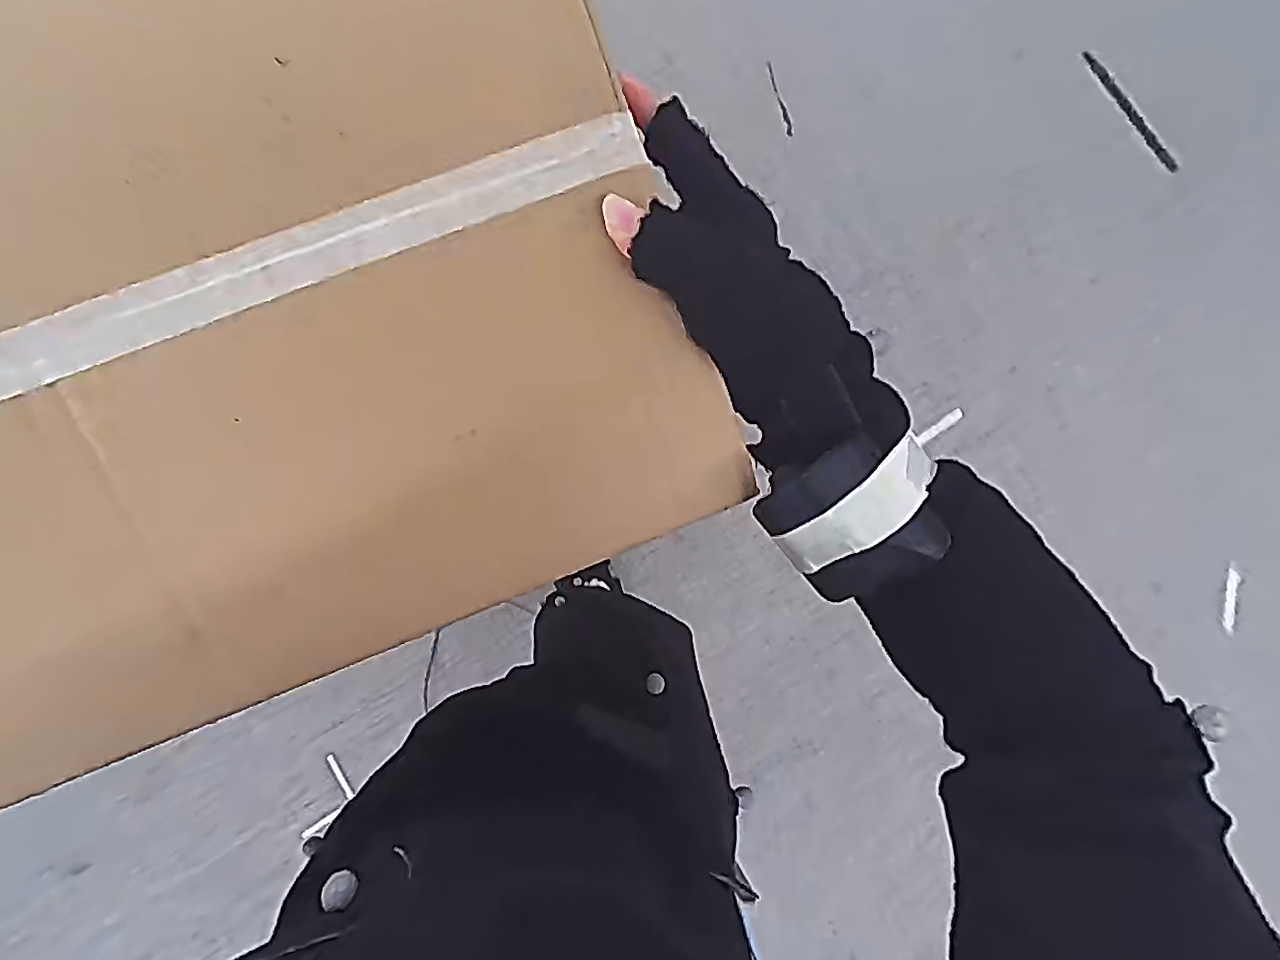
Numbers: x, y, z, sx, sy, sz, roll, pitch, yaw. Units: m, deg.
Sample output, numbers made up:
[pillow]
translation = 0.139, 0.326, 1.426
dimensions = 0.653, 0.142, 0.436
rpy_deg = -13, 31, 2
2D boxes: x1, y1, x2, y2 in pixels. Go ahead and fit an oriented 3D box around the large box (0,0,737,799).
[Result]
[large box]
translation = -0.206, -0.084, 0.361
dimensions = 0.408, 0.320, 0.320
rpy_deg = -21, 100, -4
